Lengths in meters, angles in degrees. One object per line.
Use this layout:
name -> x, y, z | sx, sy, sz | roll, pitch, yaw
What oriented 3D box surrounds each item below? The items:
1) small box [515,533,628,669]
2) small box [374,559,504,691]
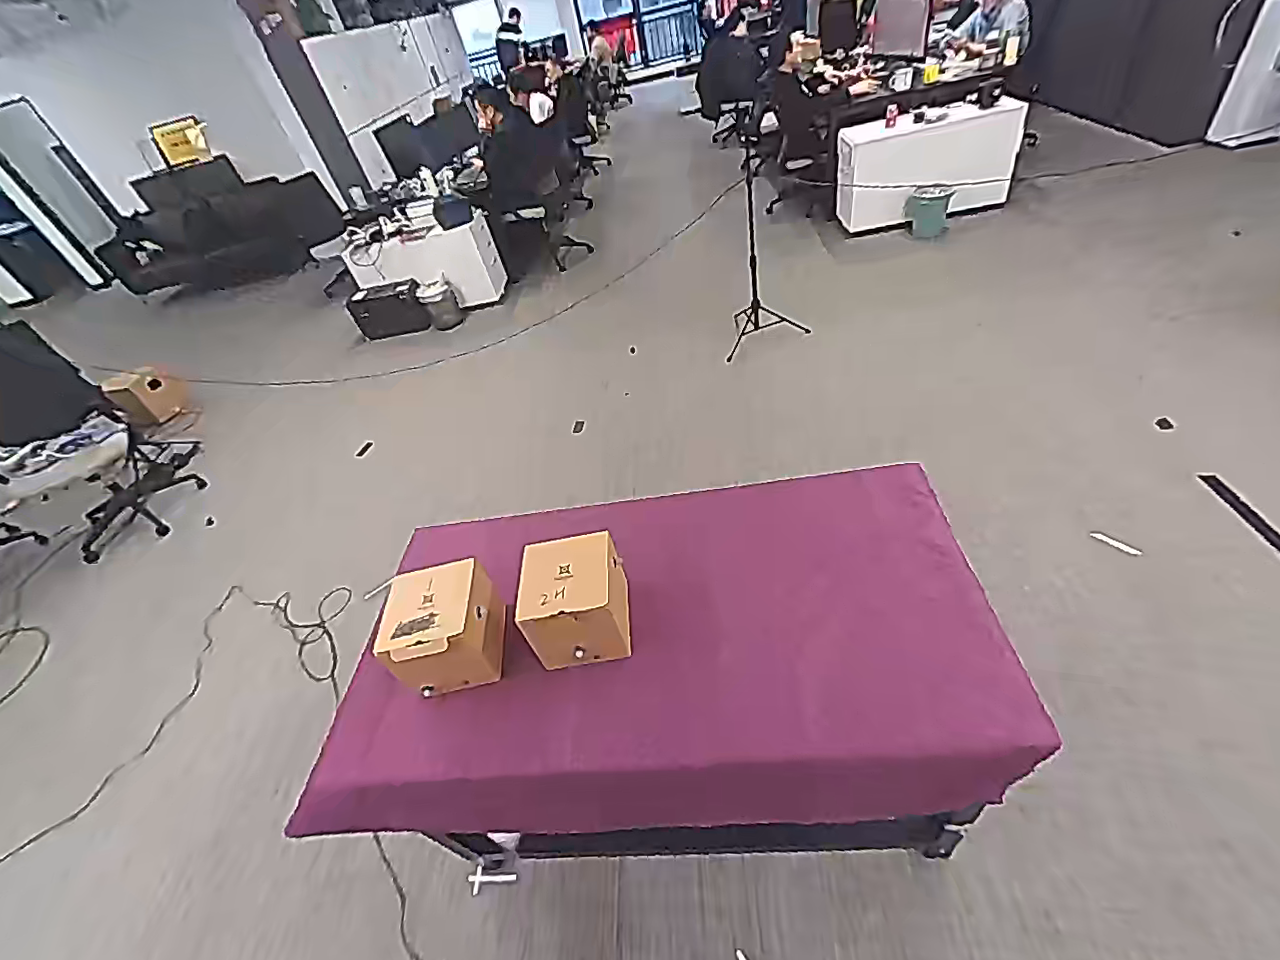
small box -> -0.121, 0.229, 1.021 | 0.168, 0.176, 0.179 | -11, 42, 6
small box -> -0.371, 0.284, 1.036 | 0.168, 0.176, 0.179 | -13, 41, 2
